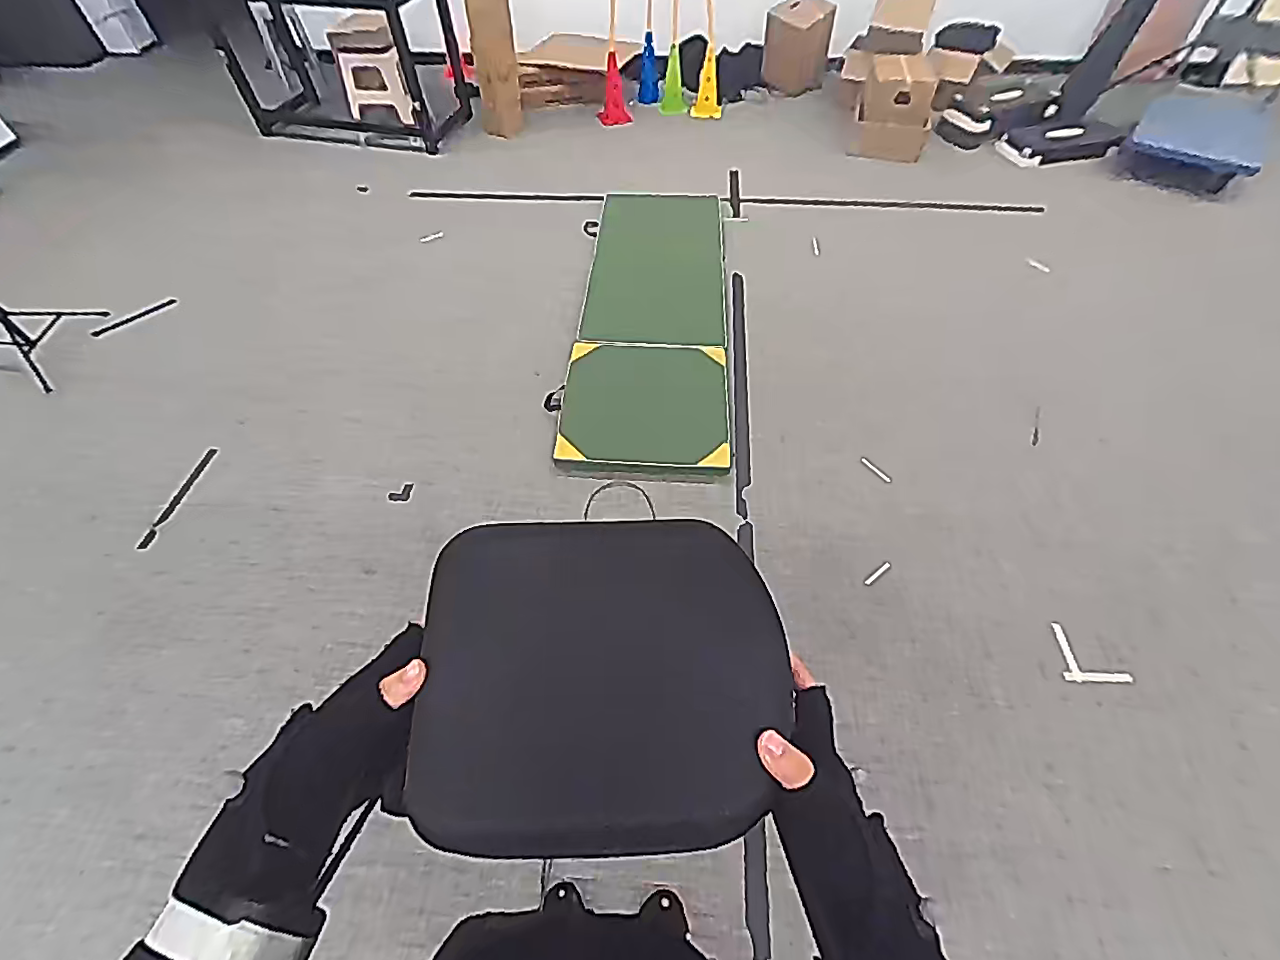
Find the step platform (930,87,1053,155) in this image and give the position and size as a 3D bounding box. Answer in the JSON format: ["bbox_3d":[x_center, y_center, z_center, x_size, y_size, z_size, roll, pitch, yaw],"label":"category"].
[{"bbox_3d":[2.141,-2.193,3.290,0.684,0.204,0.286,-21,57,-14],"label":"step platform"}]
